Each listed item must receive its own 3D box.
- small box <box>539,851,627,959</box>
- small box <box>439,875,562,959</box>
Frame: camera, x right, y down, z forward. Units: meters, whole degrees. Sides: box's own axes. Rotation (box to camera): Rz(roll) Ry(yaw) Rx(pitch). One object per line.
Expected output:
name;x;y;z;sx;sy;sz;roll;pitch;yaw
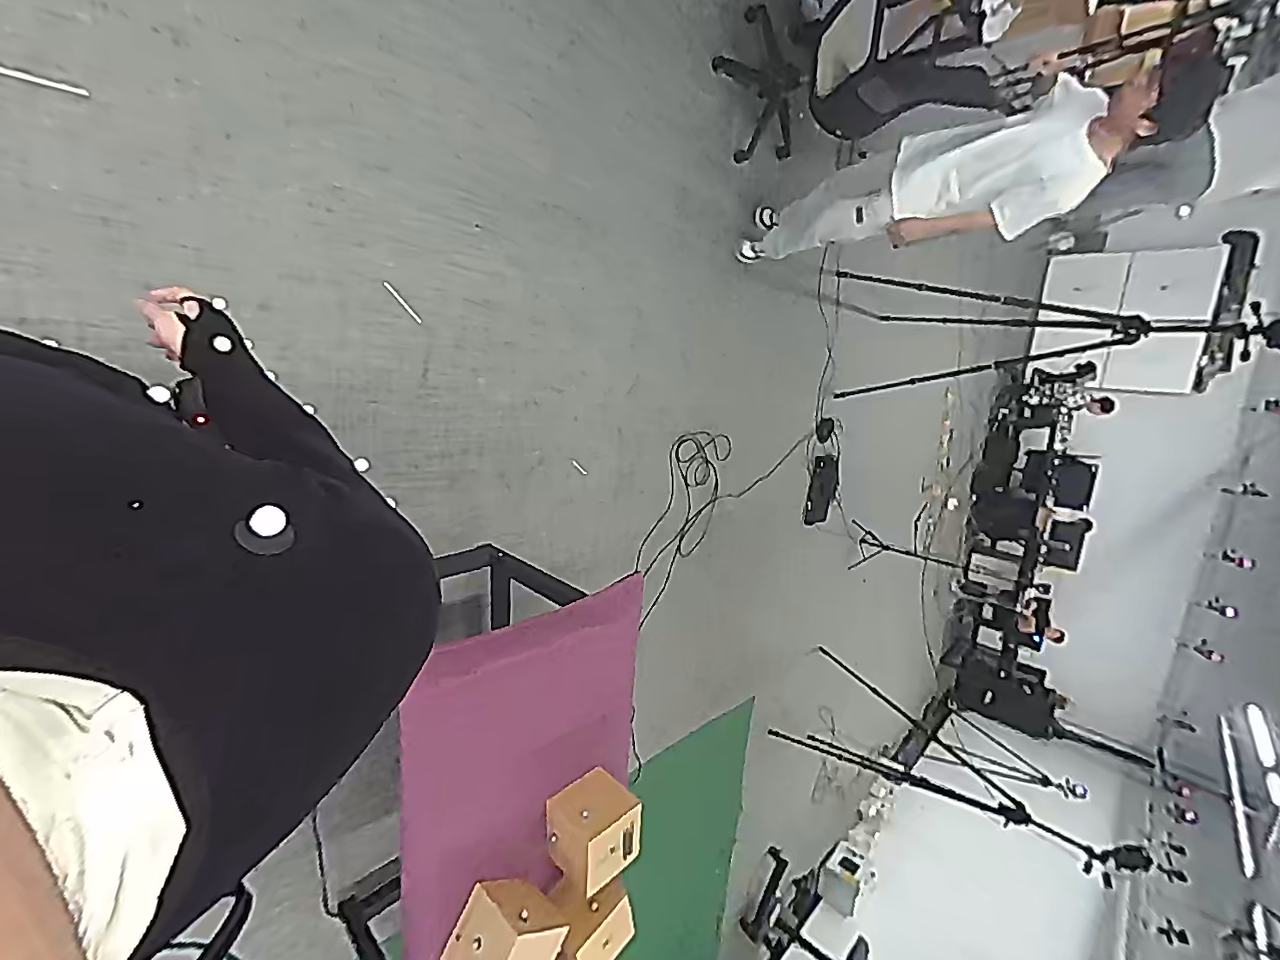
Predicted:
small box;-0.161;1.150;1.435;0.179;0.176;0.168;-27;120;-40
small box;-0.318;1.035;1.224;0.179;0.176;0.168;41;70;-47
